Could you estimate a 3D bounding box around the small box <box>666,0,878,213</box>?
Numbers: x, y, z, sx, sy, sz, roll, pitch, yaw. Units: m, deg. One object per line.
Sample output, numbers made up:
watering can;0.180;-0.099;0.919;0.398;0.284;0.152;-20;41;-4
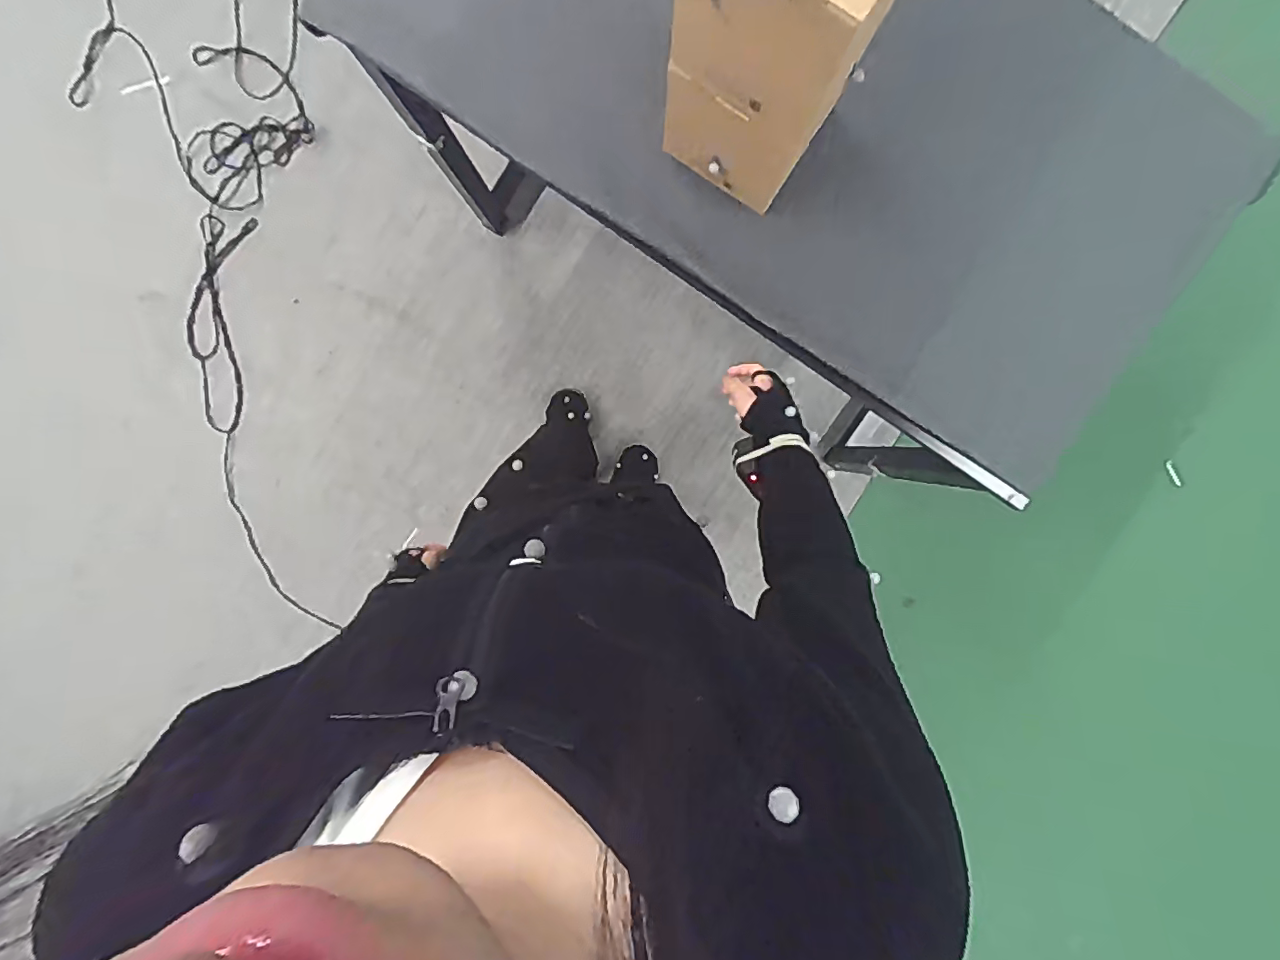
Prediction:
small box;0.141;-0.471;0.656;0.168;0.176;0.179;32;93;-2
